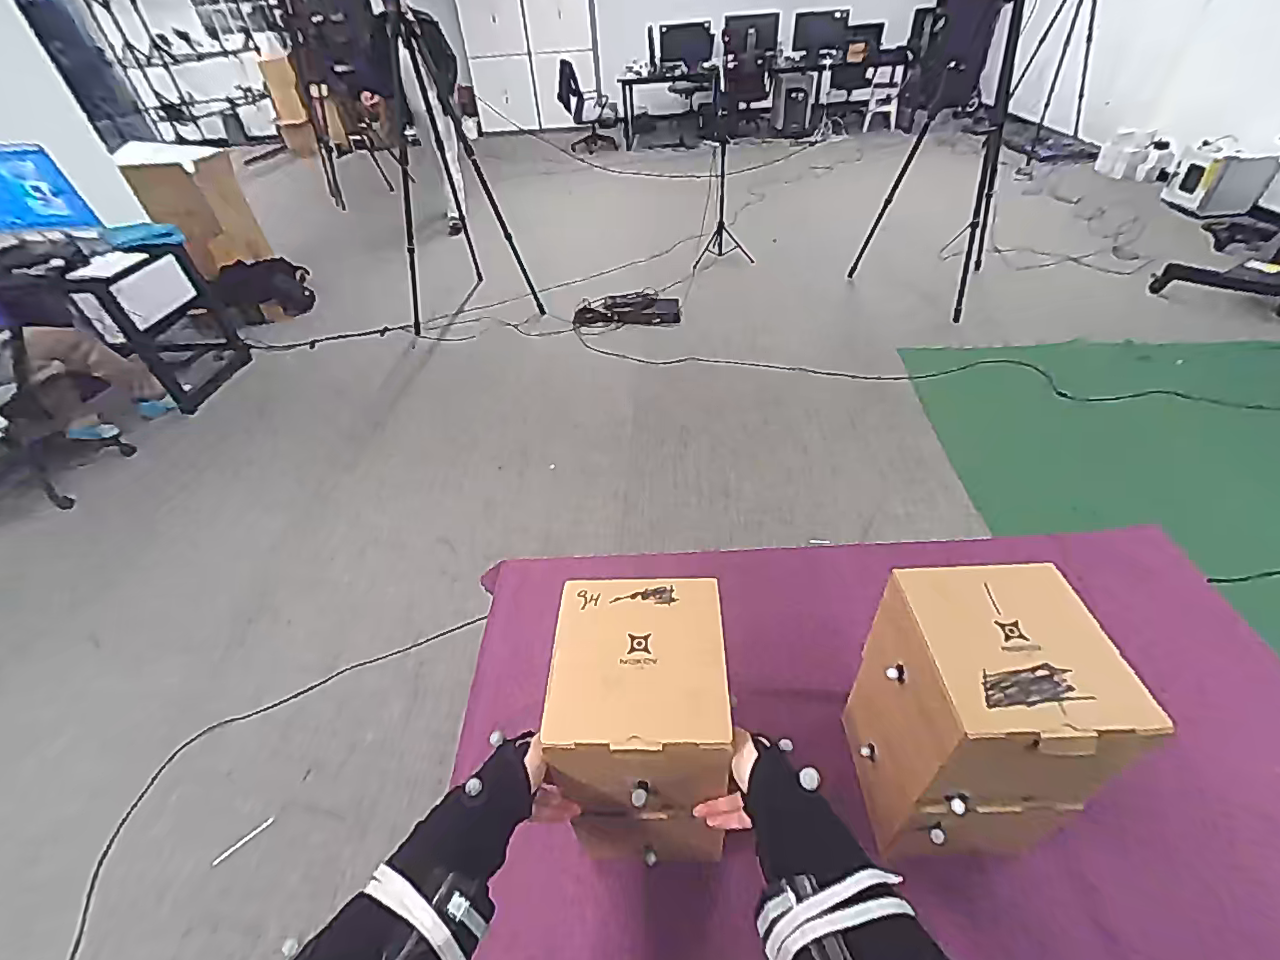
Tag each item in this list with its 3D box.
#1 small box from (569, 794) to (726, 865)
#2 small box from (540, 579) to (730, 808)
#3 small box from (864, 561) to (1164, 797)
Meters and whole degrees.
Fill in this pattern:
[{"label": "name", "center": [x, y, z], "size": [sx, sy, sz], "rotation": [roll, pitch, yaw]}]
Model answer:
[{"label": "small box", "center": [0.014, 0.350, 0.672], "size": [0.168, 0.176, 0.179], "rotation": [-2, 41, 4]}, {"label": "small box", "center": [0.003, 0.225, 0.566], "size": [0.168, 0.176, 0.179], "rotation": [-2, 42, 3]}, {"label": "small box", "center": [0.349, 0.206, 0.553], "size": [0.168, 0.176, 0.179], "rotation": [-3, 40, 2]}]
